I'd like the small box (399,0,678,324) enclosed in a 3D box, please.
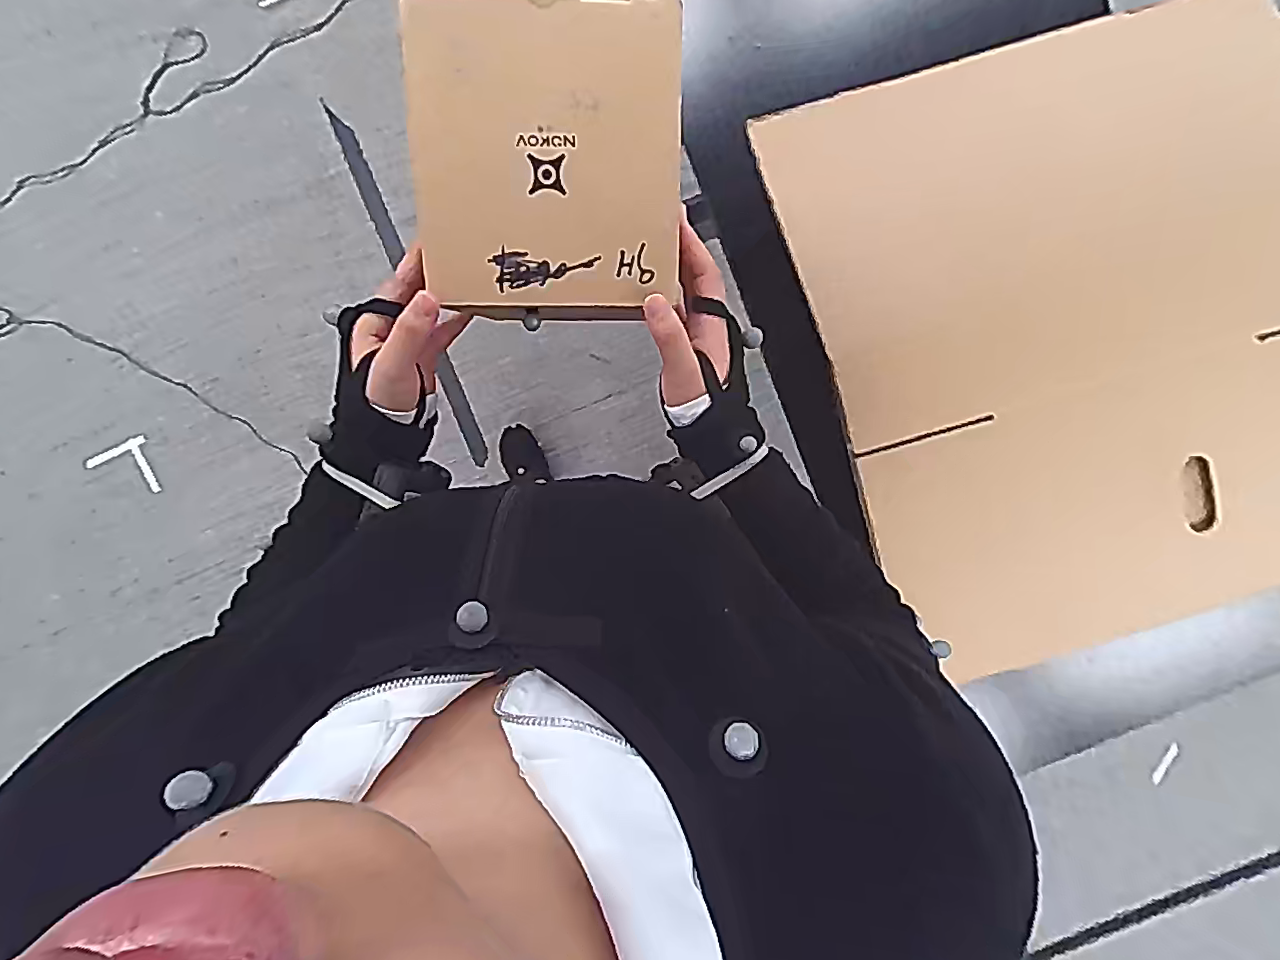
[{"bbox_3d":[-0.063,-0.216,0.411,0.168,0.176,0.179,-1,103,-2],"label":"small box"}]
